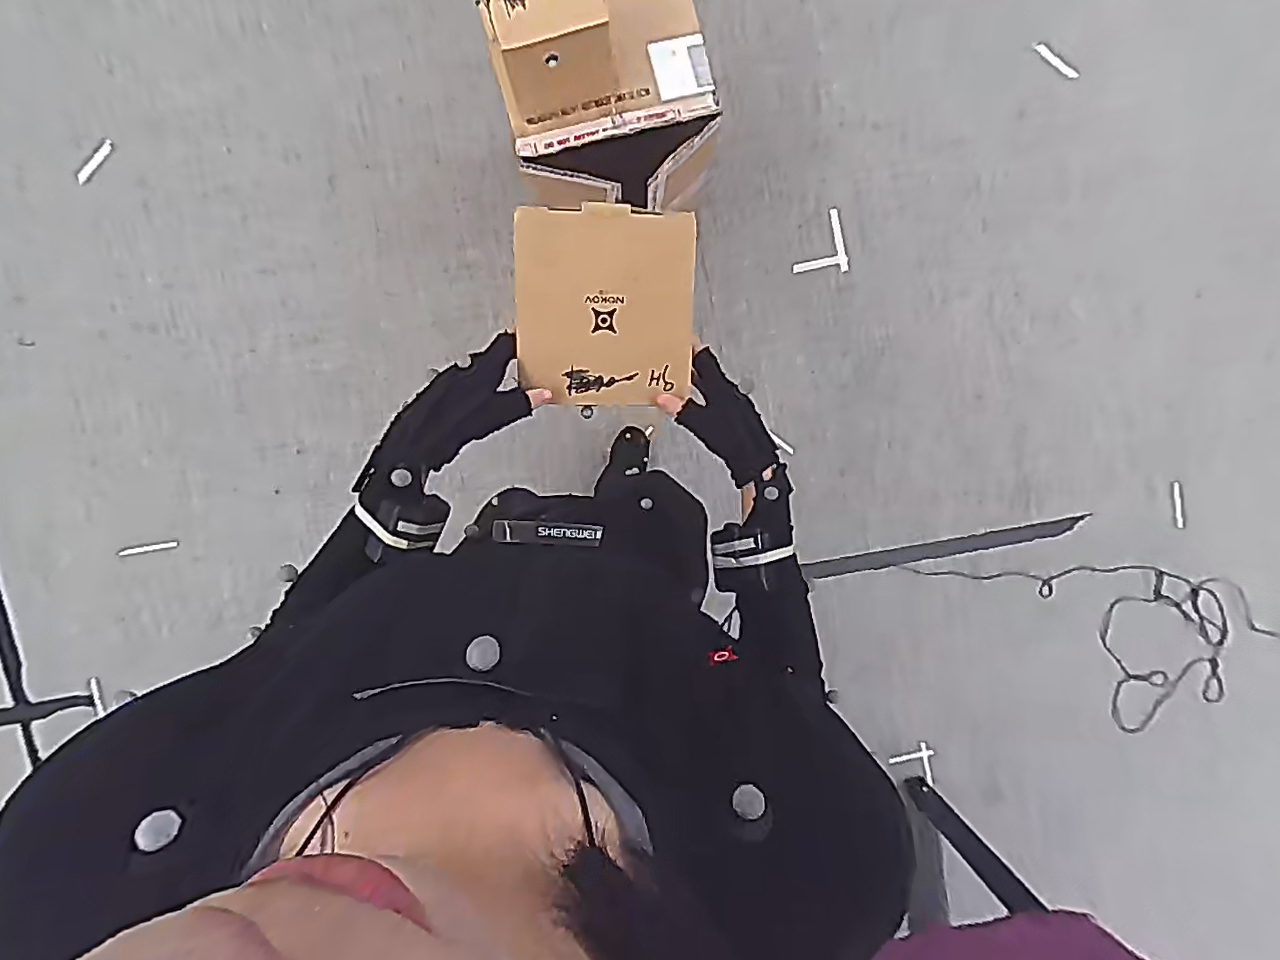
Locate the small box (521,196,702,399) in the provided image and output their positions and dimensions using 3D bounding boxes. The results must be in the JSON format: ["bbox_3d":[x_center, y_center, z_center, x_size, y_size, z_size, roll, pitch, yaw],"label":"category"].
[{"bbox_3d":[-0.032,-0.178,0.573,0.168,0.176,0.179,1,101,-3],"label":"small box"}]

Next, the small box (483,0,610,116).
[{"bbox_3d":[-0.154,-0.749,0.898,0.179,0.176,0.168,-17,92,-1],"label":"small box"}]
